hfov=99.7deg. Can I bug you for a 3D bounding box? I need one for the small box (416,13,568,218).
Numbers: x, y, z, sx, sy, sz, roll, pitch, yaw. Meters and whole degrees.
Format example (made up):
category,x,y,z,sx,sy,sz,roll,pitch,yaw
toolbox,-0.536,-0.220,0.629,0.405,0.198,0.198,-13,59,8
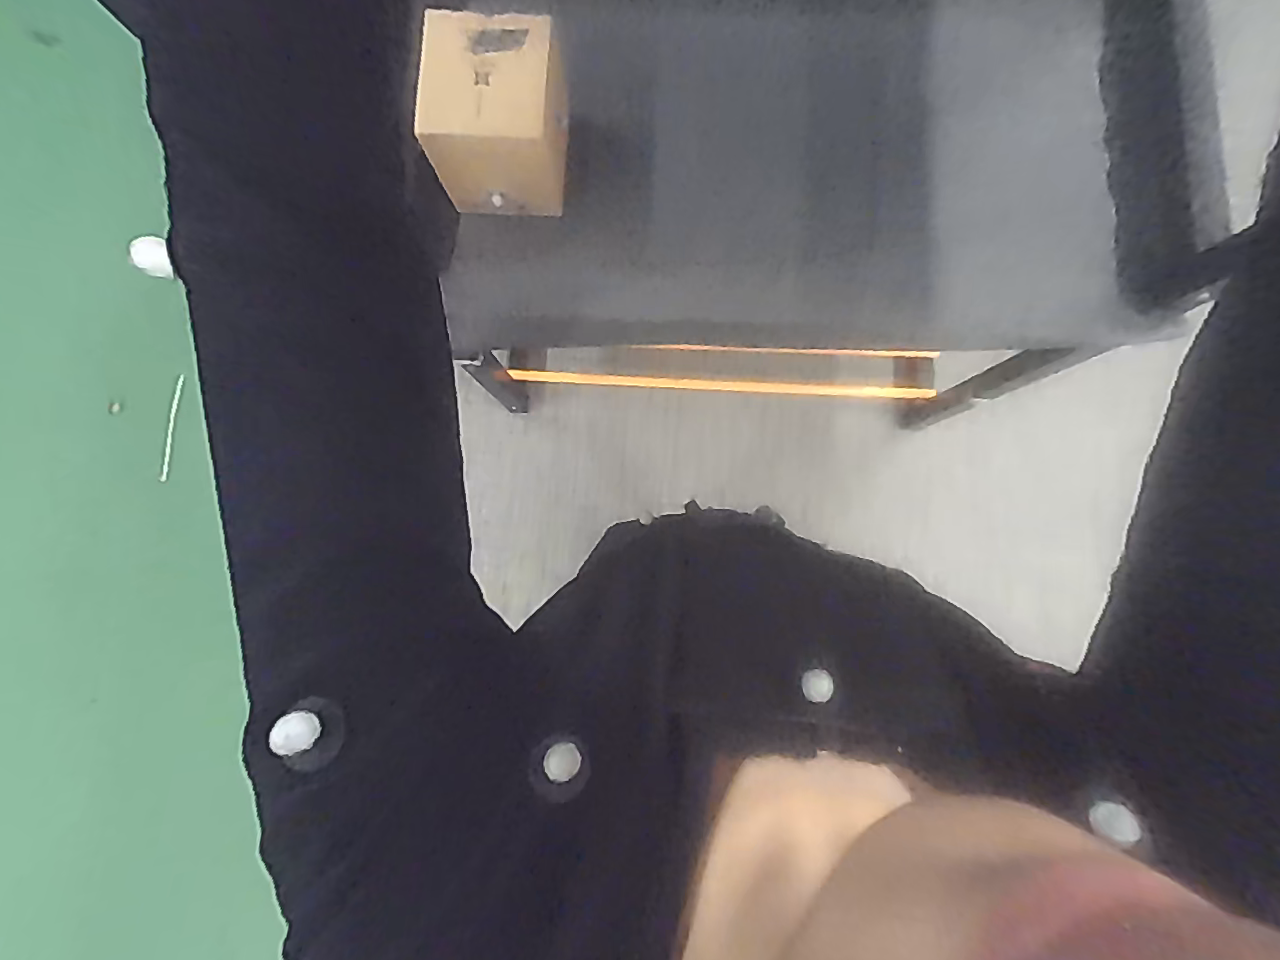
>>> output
category,x,y,z,sx,sy,sz,roll,pitch,yaw
small box,-0.198,-0.508,0.773,0.168,0.176,0.179,3,83,1
